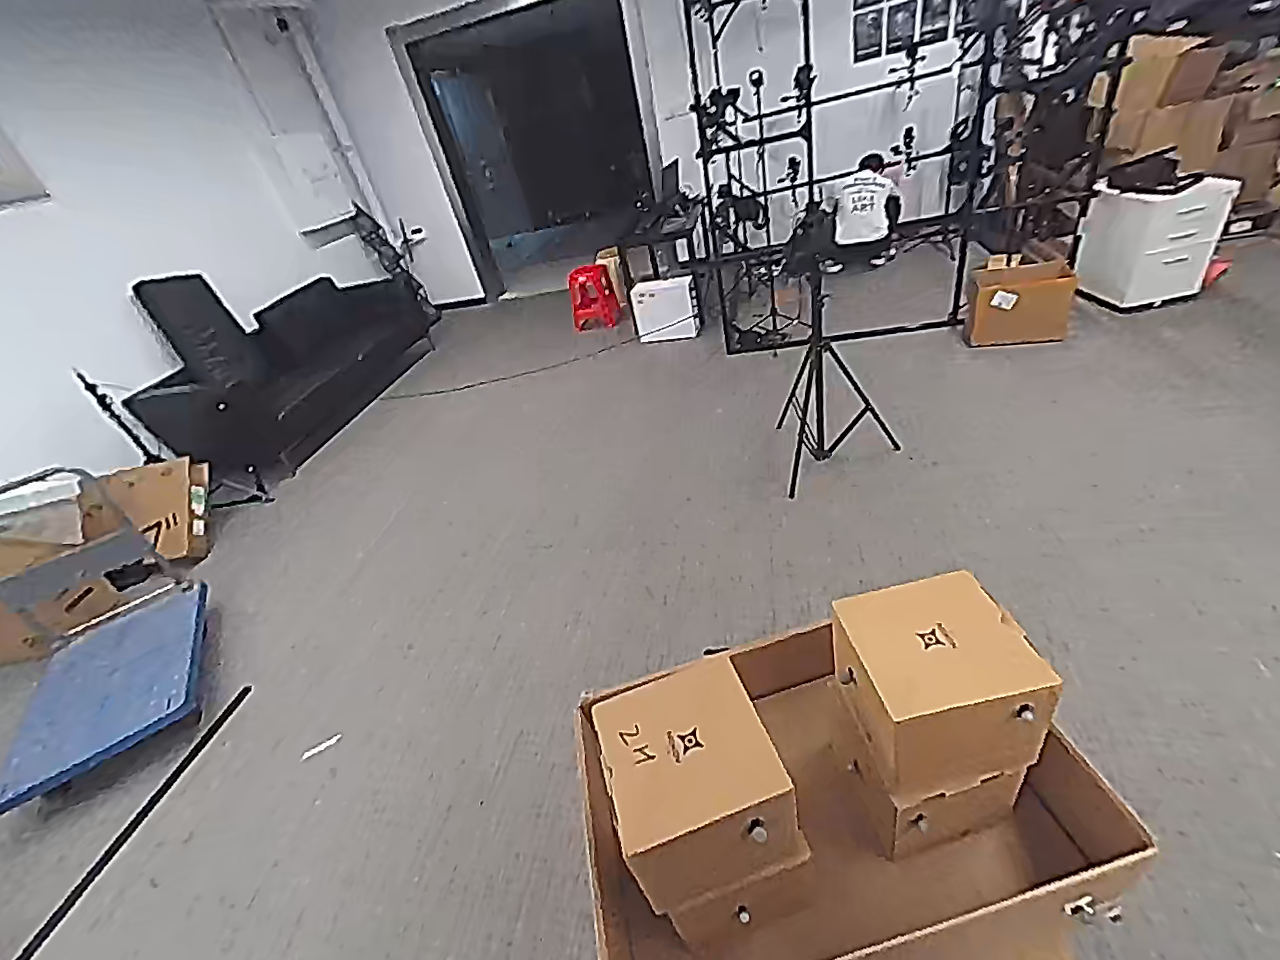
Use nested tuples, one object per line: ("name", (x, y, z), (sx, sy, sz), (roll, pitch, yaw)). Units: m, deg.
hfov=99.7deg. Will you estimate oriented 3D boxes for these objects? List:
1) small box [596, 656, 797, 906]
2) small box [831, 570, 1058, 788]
("small box", (0.065, 0.343, 0.622), (0.179, 0.176, 0.168), (-19, 35, -5))
("small box", (0.349, 0.242, 0.654), (0.179, 0.176, 0.168), (-14, 35, 2))
